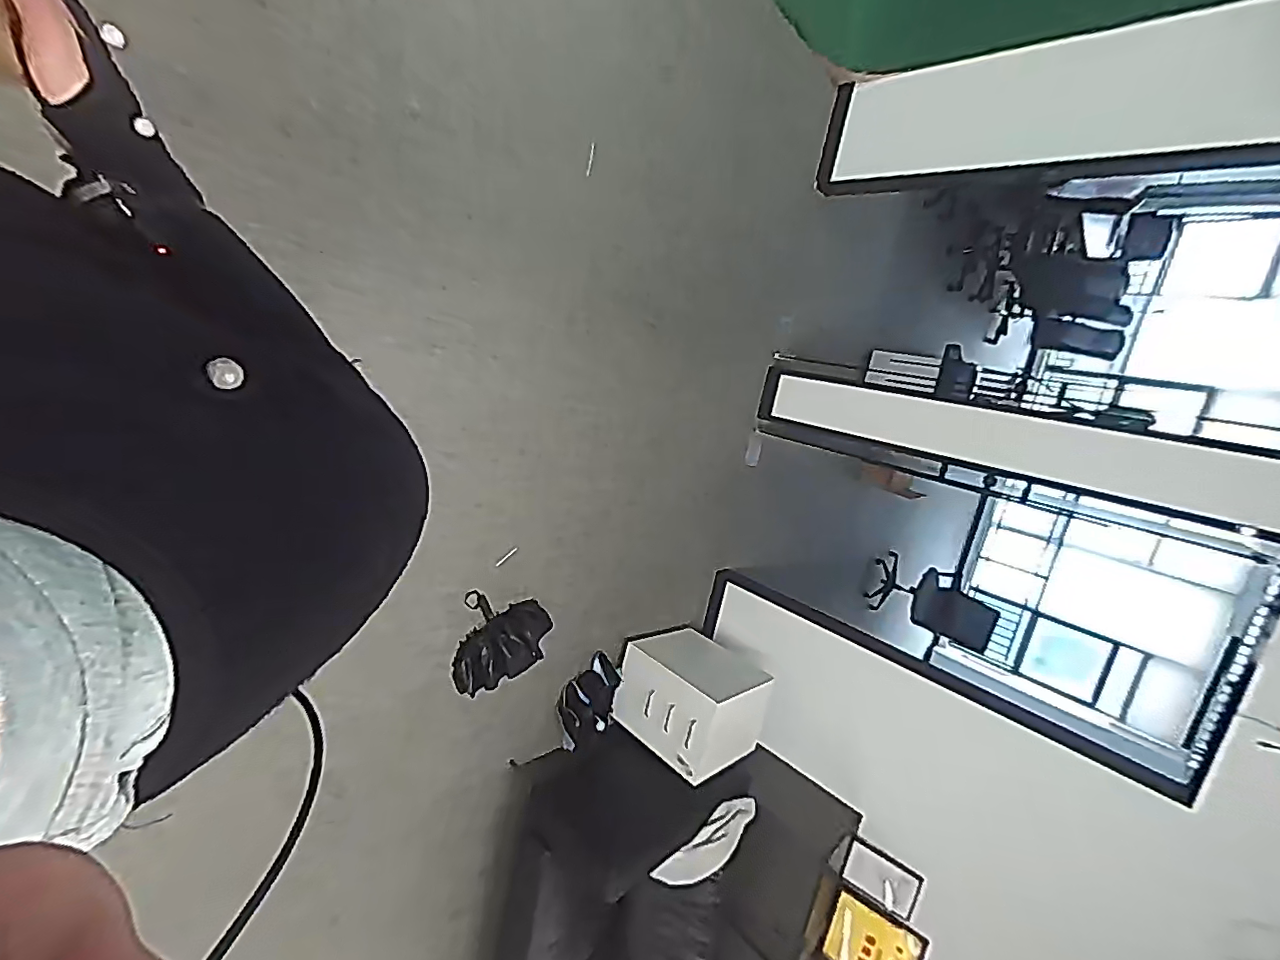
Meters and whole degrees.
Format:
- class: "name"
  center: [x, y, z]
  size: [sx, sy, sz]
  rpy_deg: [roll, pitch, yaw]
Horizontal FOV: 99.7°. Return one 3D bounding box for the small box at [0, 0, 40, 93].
- class: "small box"
  center: [-0.461, -0.325, 0.268]
  size: [0.179, 0.176, 0.168]
  rpy_deg: [-12, 111, -37]
